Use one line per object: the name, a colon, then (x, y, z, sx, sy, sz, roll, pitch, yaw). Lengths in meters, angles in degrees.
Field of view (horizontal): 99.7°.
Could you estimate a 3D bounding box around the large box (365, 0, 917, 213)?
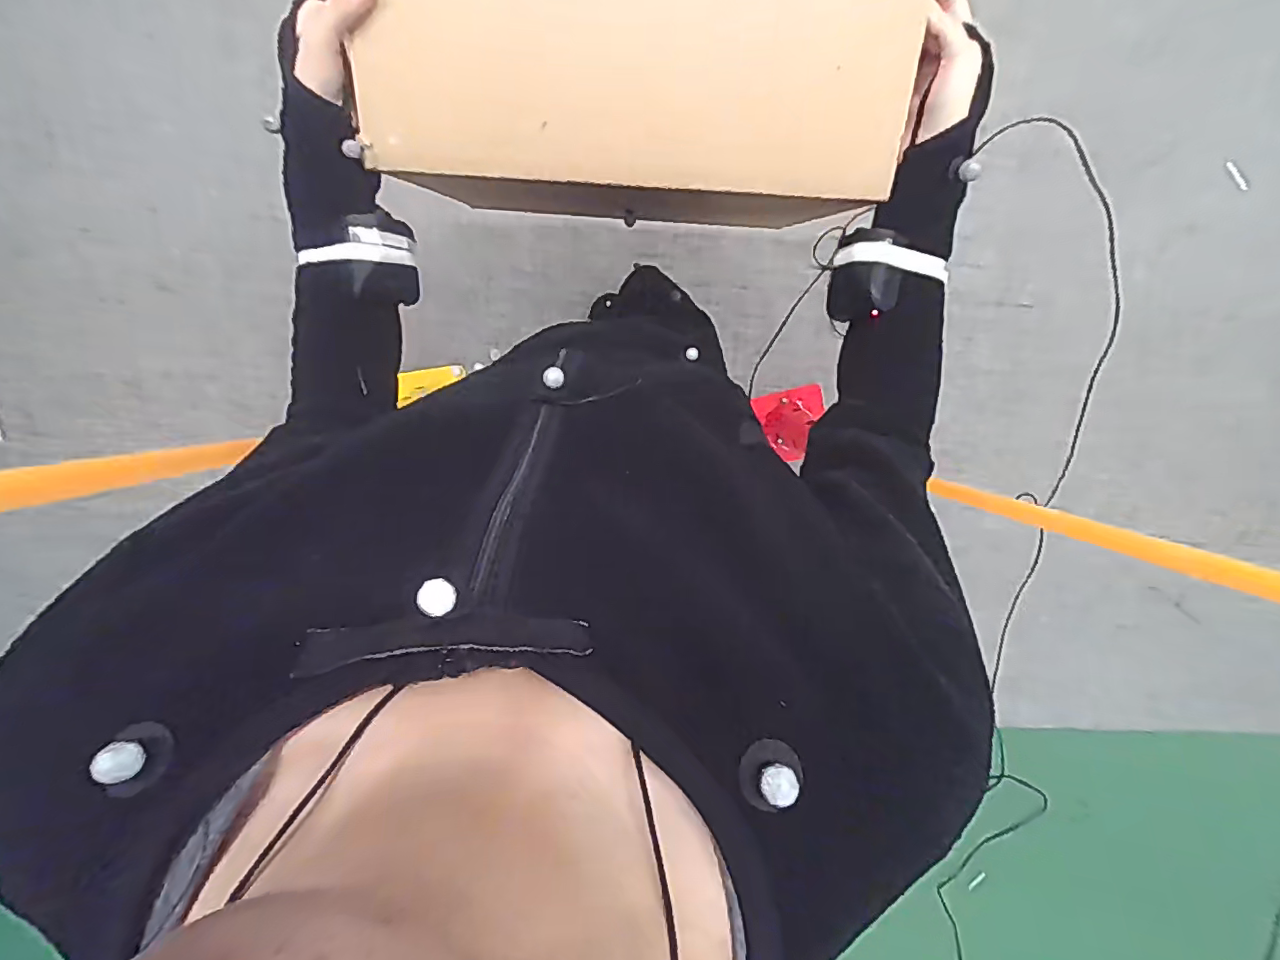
large box: (0.004, -0.438, 0.512, 0.408, 0.320, 0.320, 2, 111, -2)
